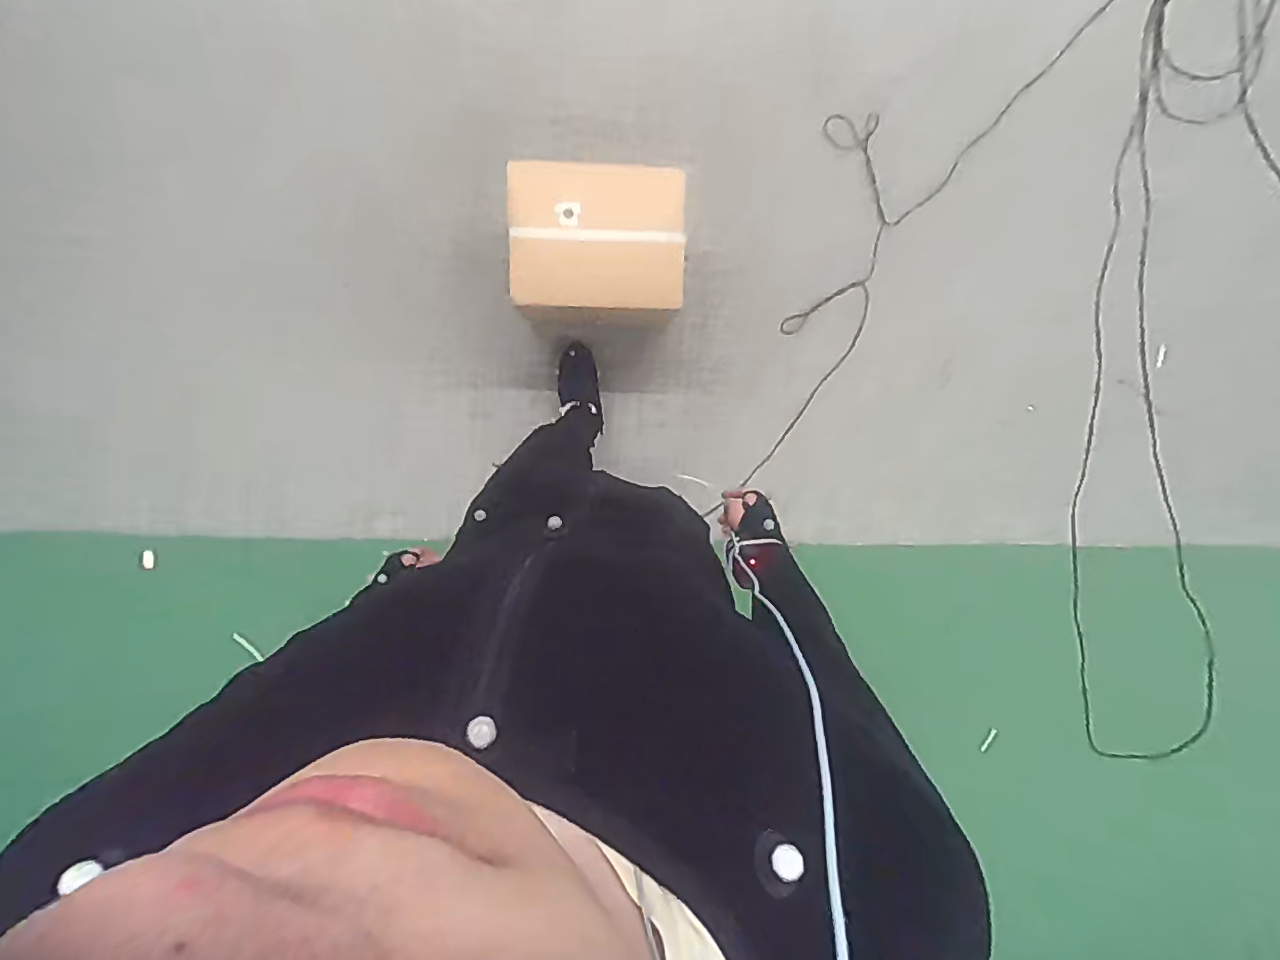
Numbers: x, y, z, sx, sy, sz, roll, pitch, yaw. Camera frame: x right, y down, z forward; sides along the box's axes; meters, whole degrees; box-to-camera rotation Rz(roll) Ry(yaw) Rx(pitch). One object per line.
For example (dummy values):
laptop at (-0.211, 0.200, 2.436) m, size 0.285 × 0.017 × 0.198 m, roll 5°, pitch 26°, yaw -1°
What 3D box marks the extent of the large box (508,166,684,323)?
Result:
large box at (-0.104, -0.582, 1.394) m, size 0.408 × 0.320 × 0.320 m, roll 0°, pitch 98°, yaw -3°
